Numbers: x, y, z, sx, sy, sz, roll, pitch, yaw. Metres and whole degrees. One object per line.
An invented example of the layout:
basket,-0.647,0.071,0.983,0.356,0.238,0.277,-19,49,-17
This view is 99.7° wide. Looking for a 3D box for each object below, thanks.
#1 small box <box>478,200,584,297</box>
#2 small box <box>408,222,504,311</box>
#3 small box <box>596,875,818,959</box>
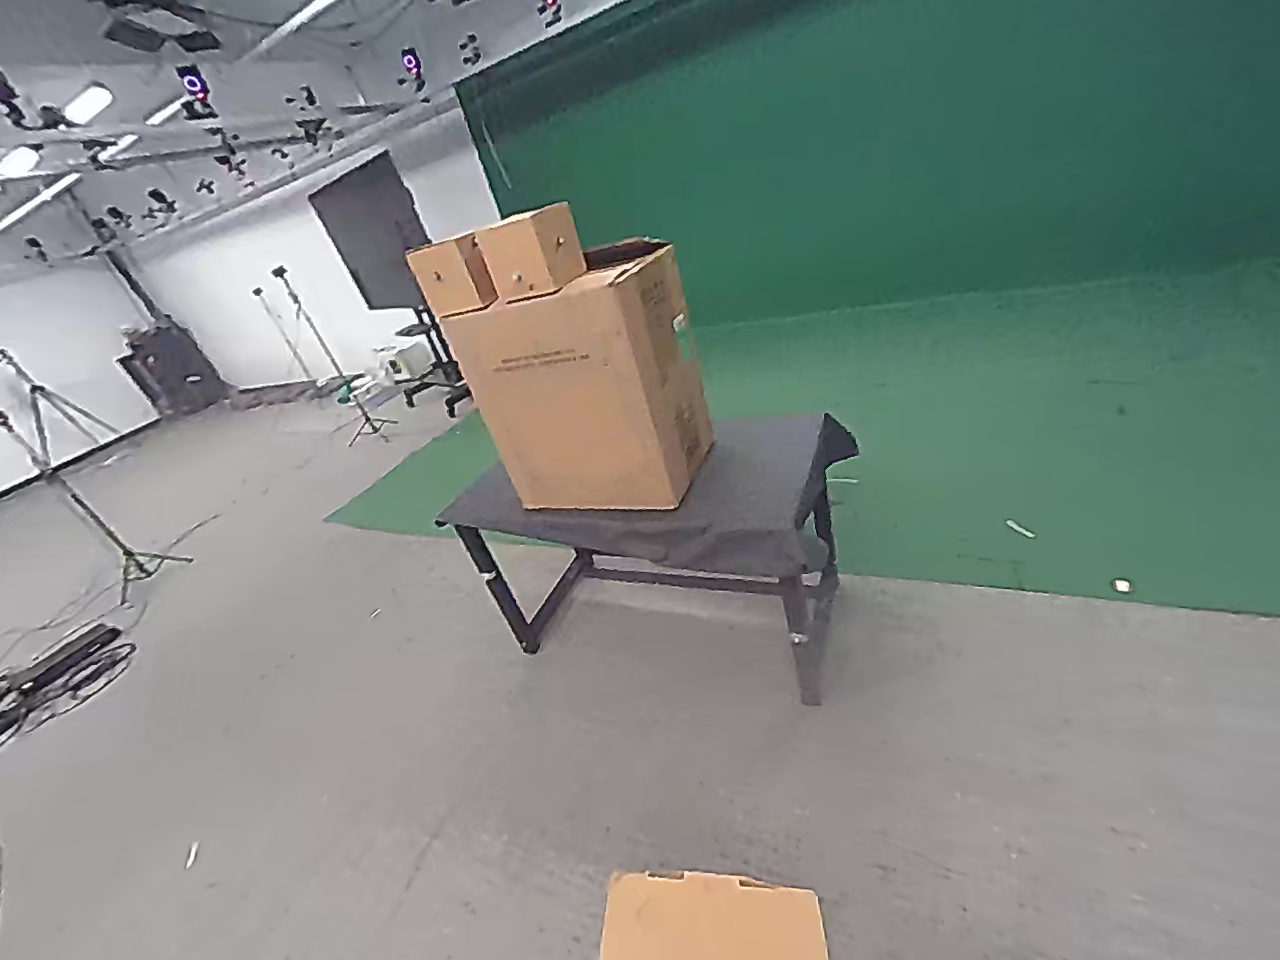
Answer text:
small box,-0.253,-0.558,1.311,0.168,0.176,0.179,1,36,27
small box,-0.453,-0.551,1.405,0.179,0.176,0.168,0,35,28
small box,0.045,0.438,0.398,0.168,0.176,0.179,2,28,5
